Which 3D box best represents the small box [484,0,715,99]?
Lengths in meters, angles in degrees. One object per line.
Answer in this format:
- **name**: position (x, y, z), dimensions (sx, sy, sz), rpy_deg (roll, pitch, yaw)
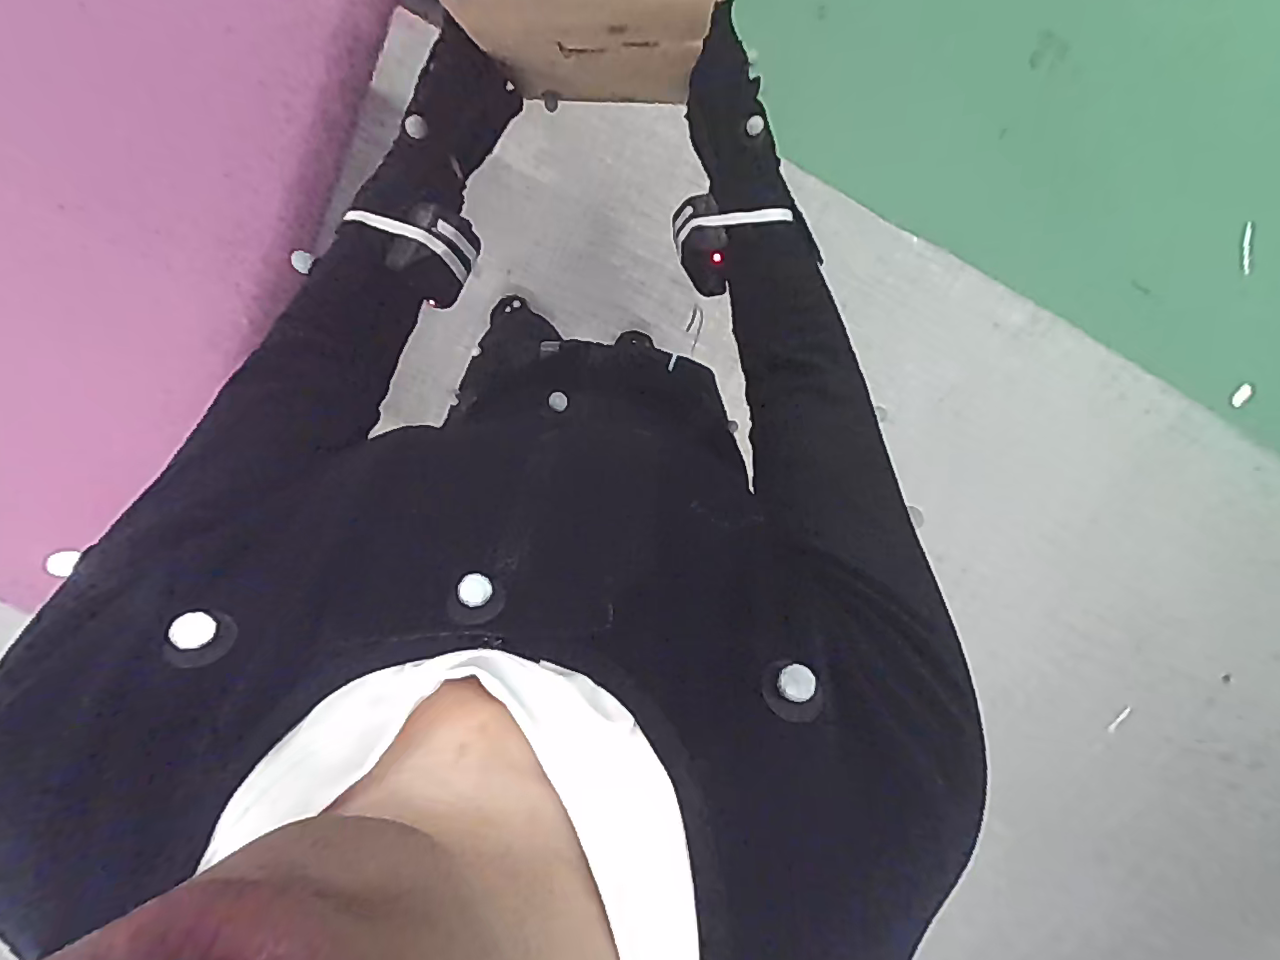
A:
- **small box**: position (-0.022, -0.423, 0.425), dimensions (0.168, 0.176, 0.179), rpy_deg (3, 112, 0)
